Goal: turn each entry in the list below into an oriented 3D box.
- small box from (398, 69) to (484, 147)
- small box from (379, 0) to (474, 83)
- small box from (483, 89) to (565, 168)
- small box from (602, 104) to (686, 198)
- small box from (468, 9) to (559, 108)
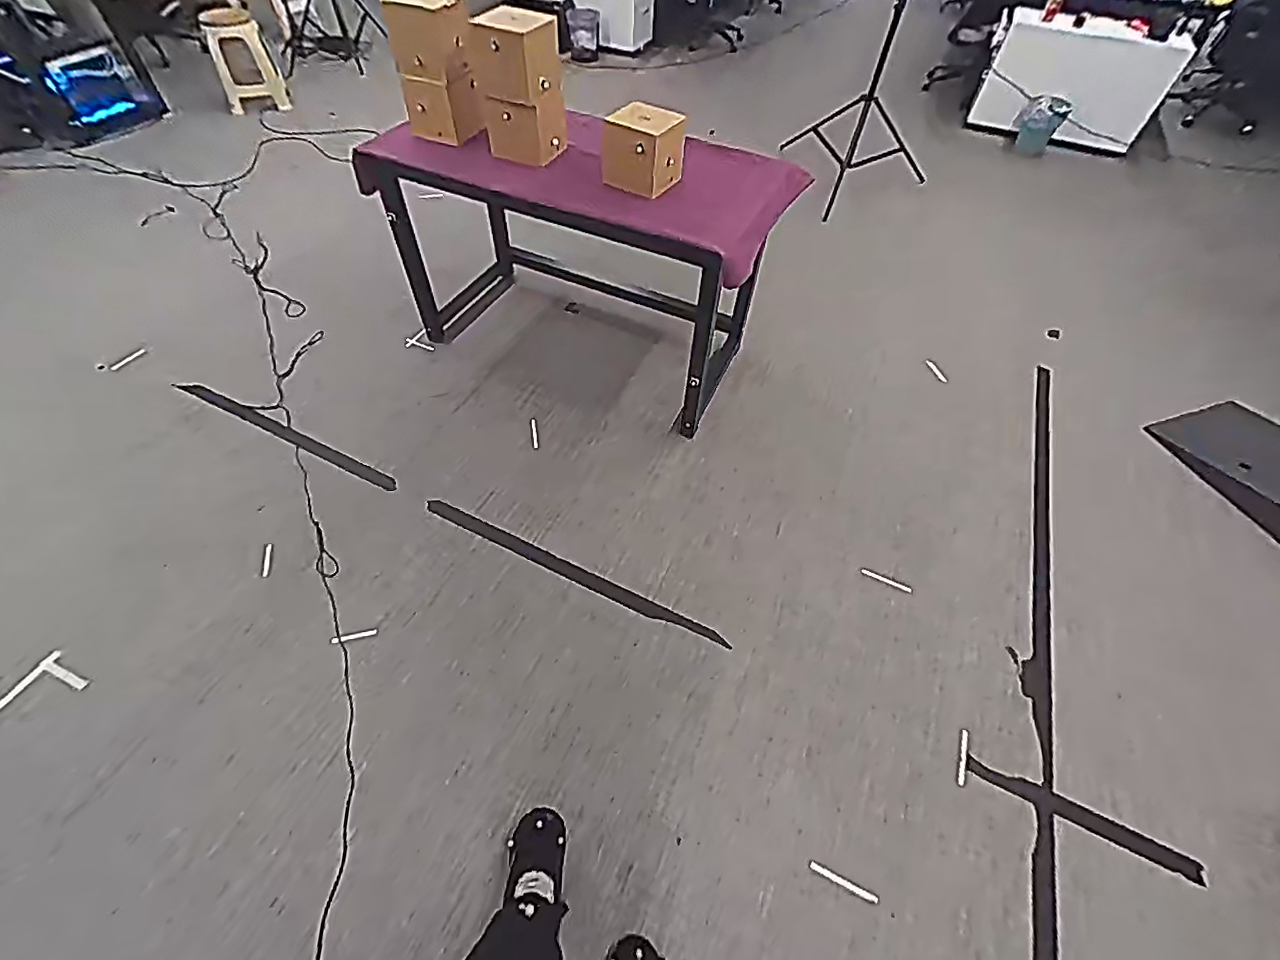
[{"bbox_3d":[-0.608,-1.167,1.683,0.168,0.176,0.179,19,54,11],"label":"small box"},{"bbox_3d":[-0.603,-1.273,1.558,0.179,0.176,0.168,18,53,9],"label":"small box"},{"bbox_3d":[-0.339,-1.065,1.620,0.179,0.176,0.168,21,55,11],"label":"small box"},{"bbox_3d":[0.009,-0.929,1.534,0.179,0.176,0.168,28,56,17],"label":"small box"},{"bbox_3d":[-0.338,-1.153,1.483,0.179,0.176,0.168,23,57,12],"label":"small box"}]
